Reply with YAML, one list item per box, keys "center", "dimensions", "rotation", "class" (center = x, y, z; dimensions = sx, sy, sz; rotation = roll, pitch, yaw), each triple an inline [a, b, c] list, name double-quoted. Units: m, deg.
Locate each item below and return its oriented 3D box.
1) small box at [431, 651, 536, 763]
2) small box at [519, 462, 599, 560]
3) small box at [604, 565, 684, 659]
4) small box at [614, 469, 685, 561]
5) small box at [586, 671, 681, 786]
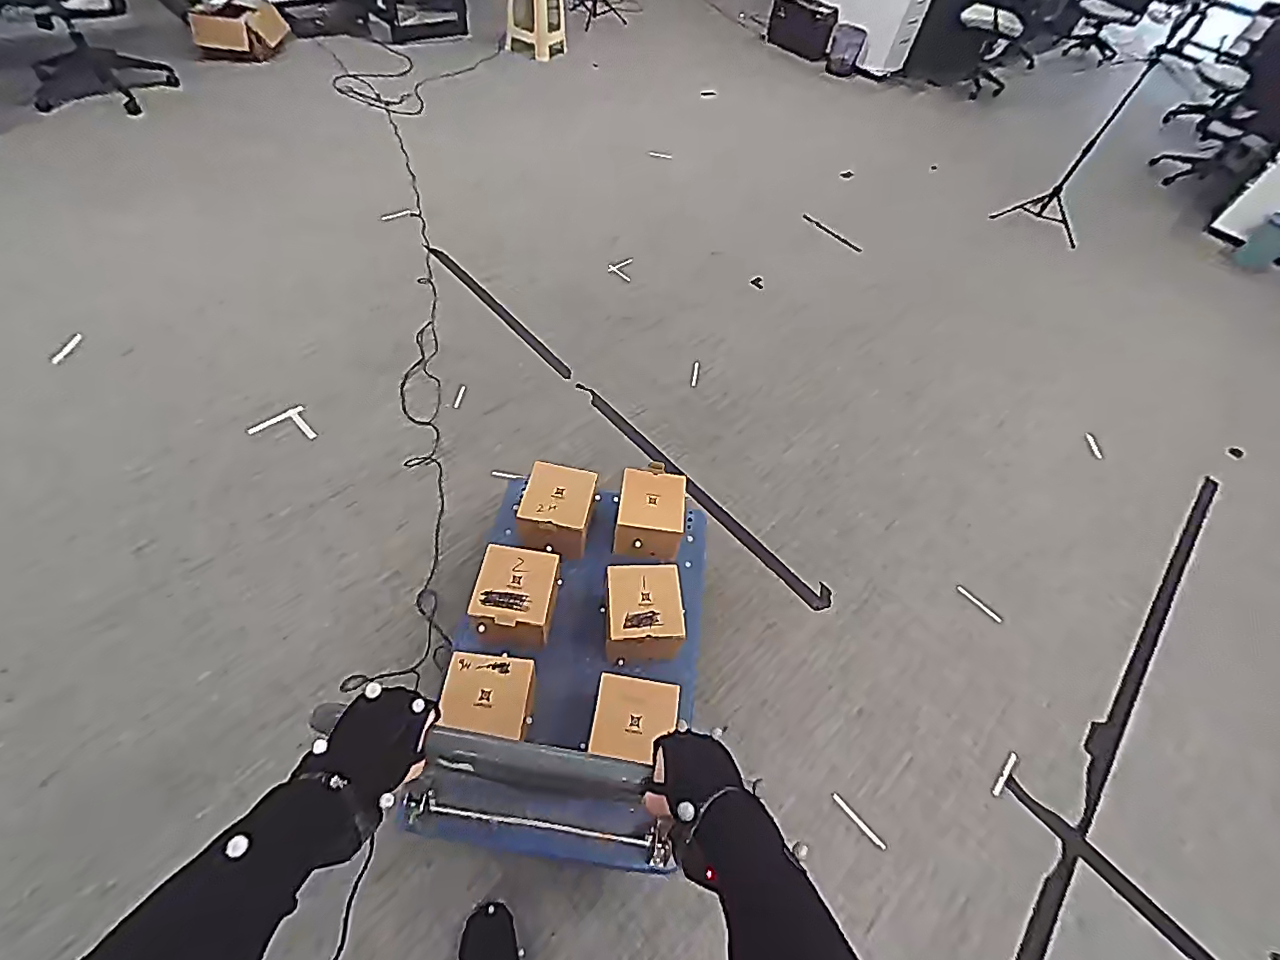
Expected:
- center: [-0.311, 0.474, 1.118]
  dimensions: [0.168, 0.176, 0.179]
  rotation: [8, 54, -4]
  class: "small box"
- center: [-0.210, 0.084, 1.412]
  dimensions: [0.168, 0.176, 0.179]
  rotation: [12, 55, 0]
  class: "small box"
- center: [0.003, 0.317, 1.280]
  dimensions: [0.168, 0.176, 0.179]
  rotation: [1, 54, -8]
  class: "small box"
- center: [0.023, 0.097, 1.440]
  dimensions: [0.168, 0.176, 0.179]
  rotation: [8, 54, -3]
  class: "small box"
- center: [-0.018, 0.525, 1.130]
  dimensions: [0.168, 0.176, 0.179]
  rotation: [11, 53, -1]
  class: "small box"
